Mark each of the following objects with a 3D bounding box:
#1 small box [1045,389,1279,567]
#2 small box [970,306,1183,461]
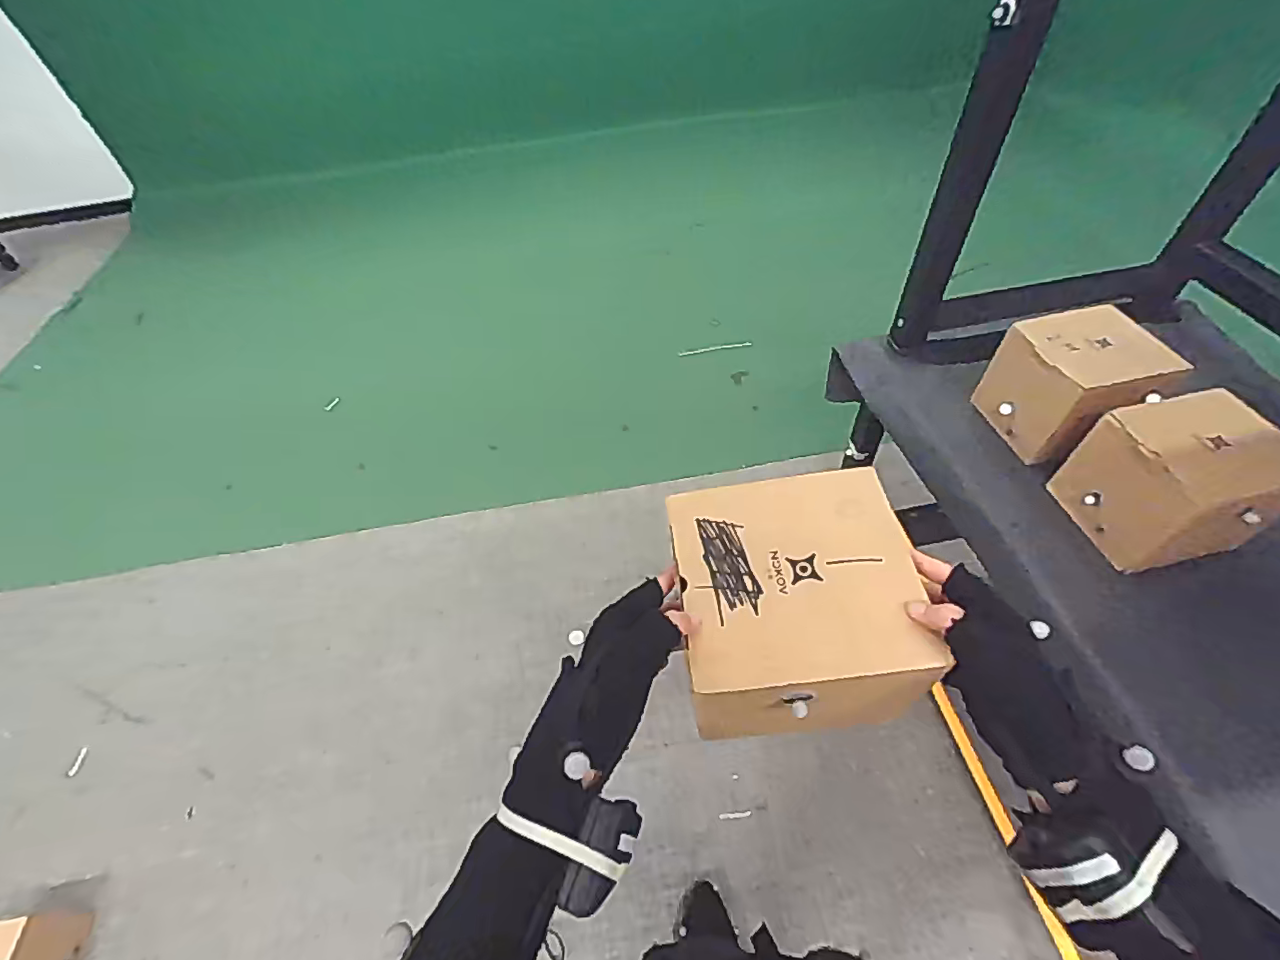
[{"bbox_3d":[0.734,0.001,0.760,0.179,0.176,0.168,-12,51,-3],"label":"small box"},{"bbox_3d":[0.691,-0.154,0.885,0.179,0.176,0.168,-12,51,-4],"label":"small box"}]
